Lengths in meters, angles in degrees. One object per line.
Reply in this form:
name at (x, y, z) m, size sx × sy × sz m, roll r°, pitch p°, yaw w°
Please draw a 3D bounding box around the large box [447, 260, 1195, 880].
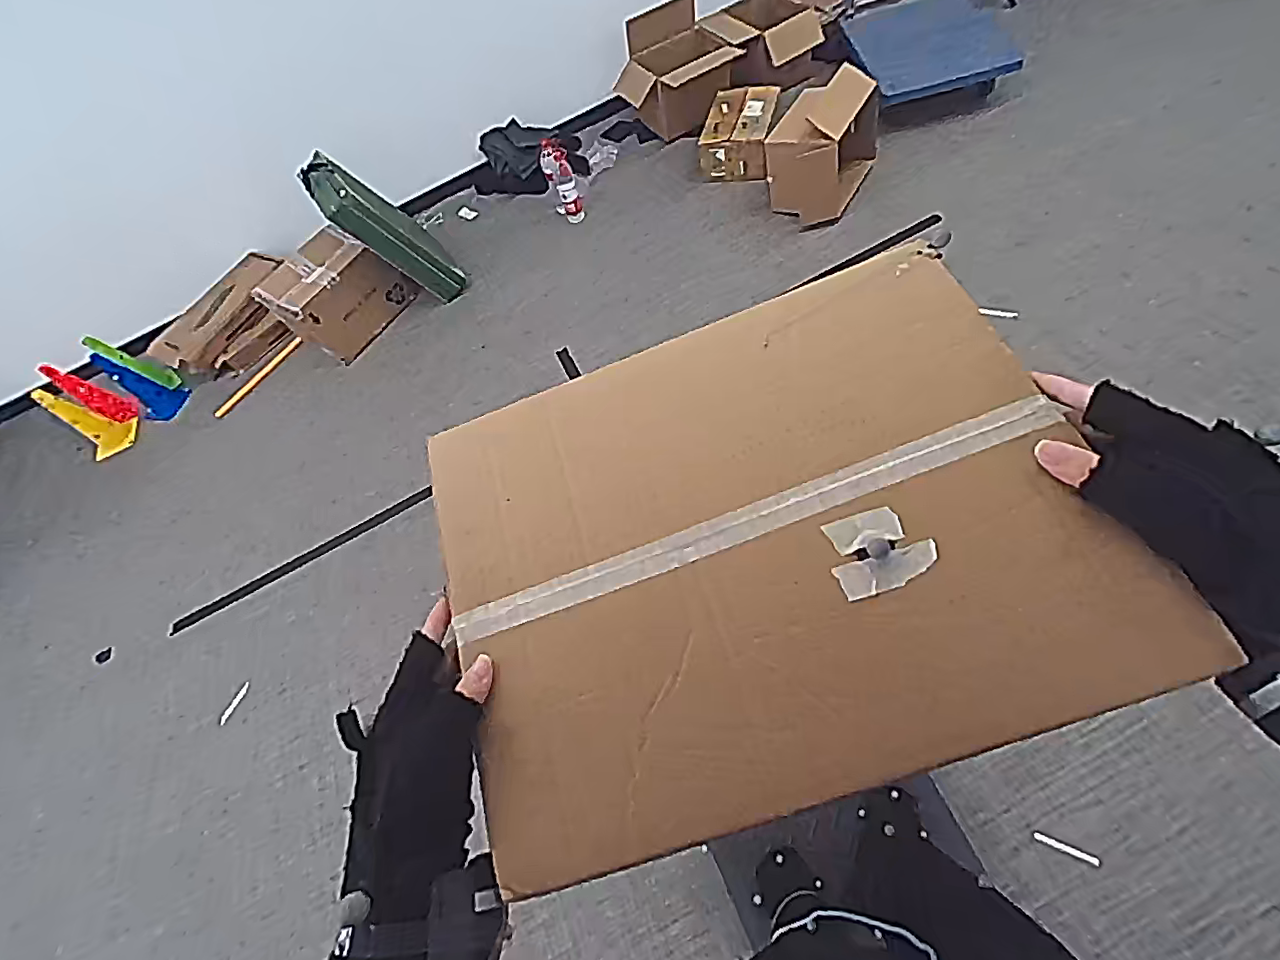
large box at (0.100, 0.087, 0.497) m, size 0.408 × 0.320 × 0.320 m, roll -21°, pitch 66°, yaw 4°
